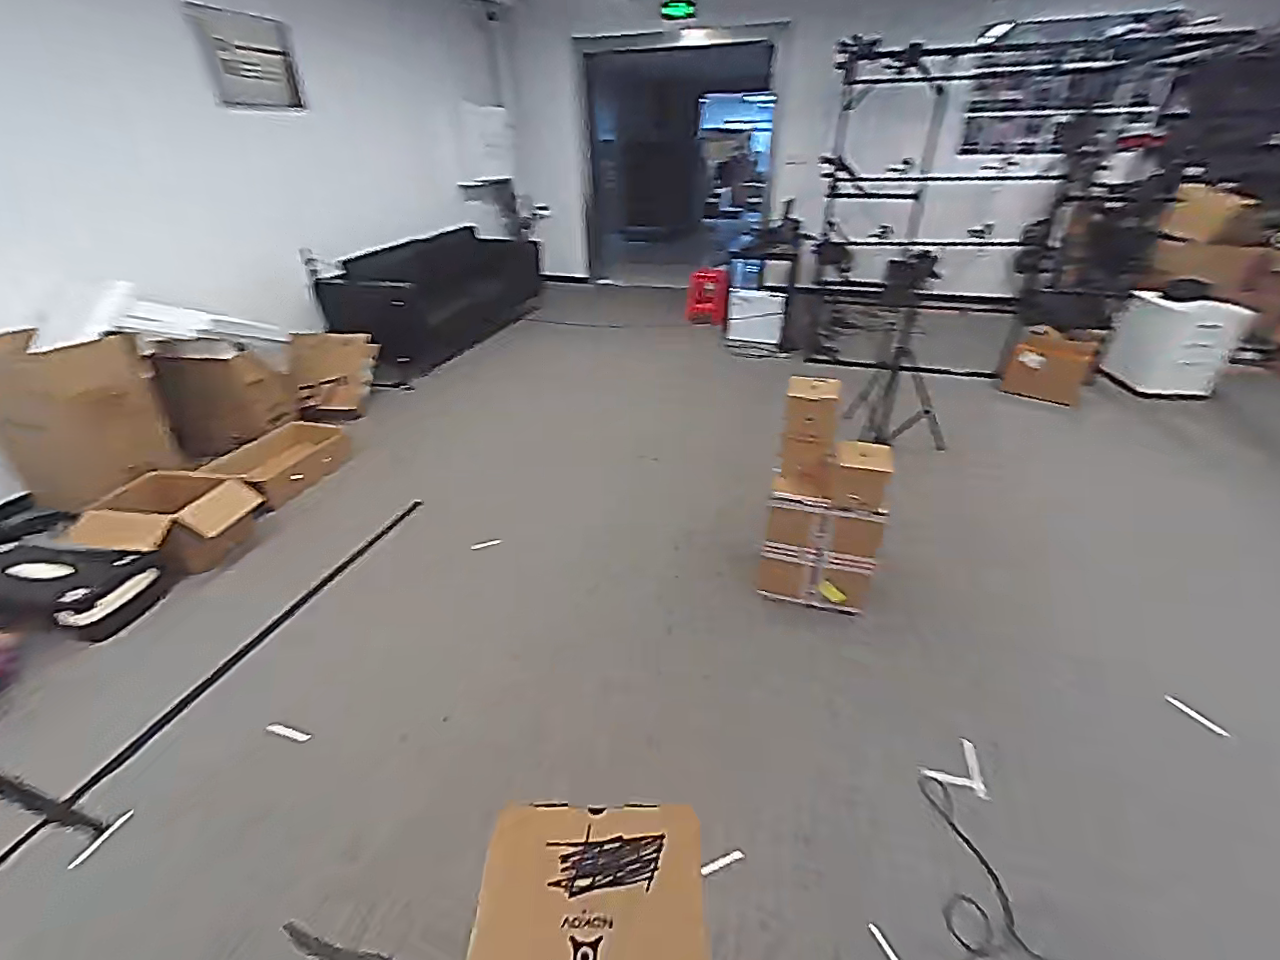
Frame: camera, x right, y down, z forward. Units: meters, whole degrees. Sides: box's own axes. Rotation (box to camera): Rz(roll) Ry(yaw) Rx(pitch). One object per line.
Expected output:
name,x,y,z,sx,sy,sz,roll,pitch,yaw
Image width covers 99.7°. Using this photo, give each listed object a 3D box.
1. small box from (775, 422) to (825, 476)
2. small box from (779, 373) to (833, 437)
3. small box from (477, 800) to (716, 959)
small box,0.599,-0.137,2.029,0.168,0.176,0.179,6,35,15
small box,0.593,-0.268,1.930,0.168,0.176,0.179,7,36,16
small box,-0.028,0.382,0.426,0.168,0.176,0.179,-1,38,2
